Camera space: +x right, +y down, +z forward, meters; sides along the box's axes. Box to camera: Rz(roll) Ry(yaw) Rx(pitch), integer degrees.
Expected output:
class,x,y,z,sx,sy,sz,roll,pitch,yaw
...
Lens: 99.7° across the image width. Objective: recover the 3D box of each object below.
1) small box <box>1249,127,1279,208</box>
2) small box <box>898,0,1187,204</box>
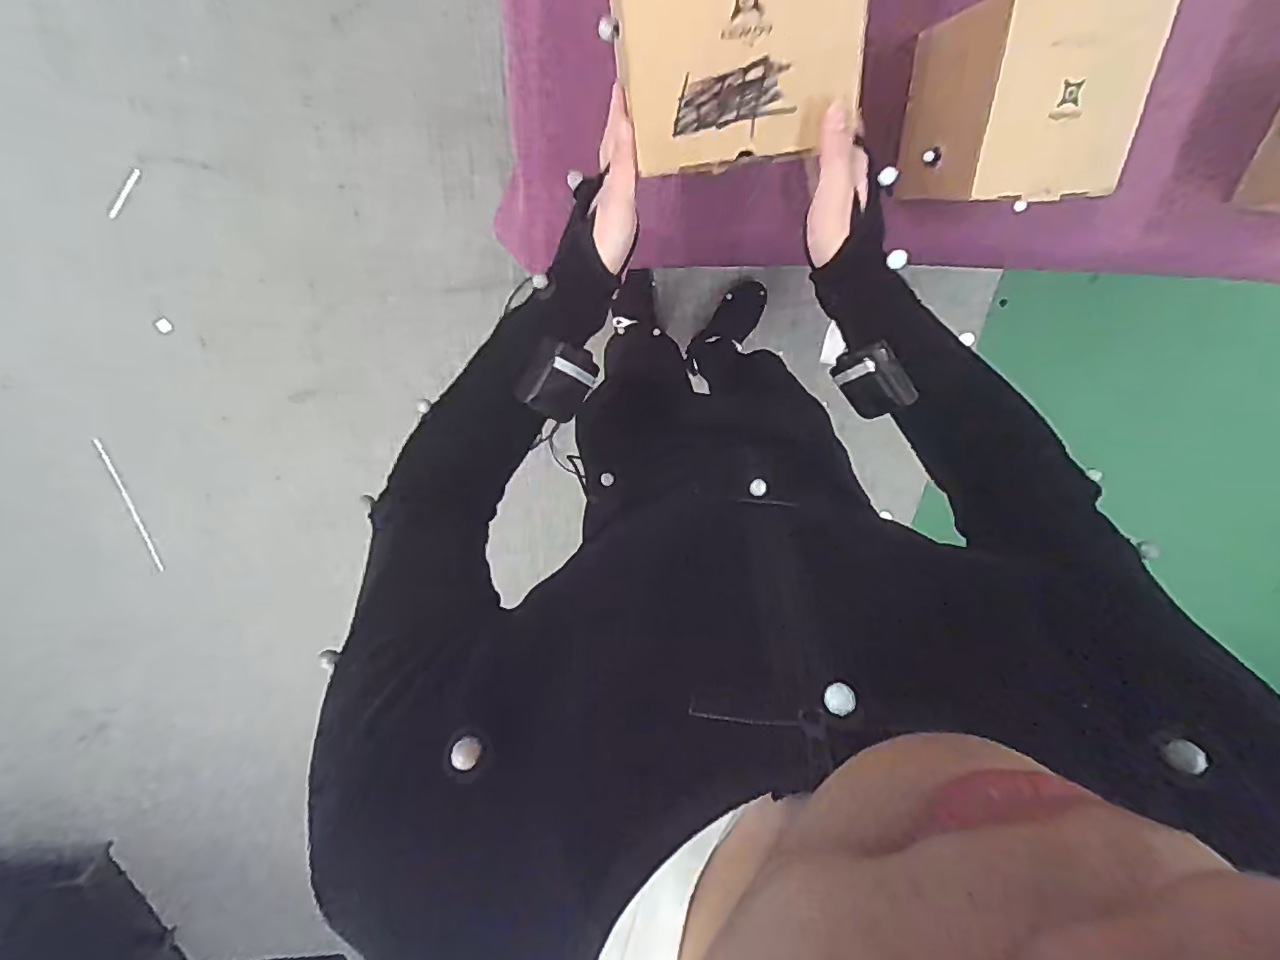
class,x,y,z,sx,sy,sz,roll,pitch,yaw
small box,0.902,-0.406,0.633,0.168,0.176,0.179,4,118,-6
small box,0.413,-0.407,0.596,0.168,0.176,0.179,-3,118,-4
